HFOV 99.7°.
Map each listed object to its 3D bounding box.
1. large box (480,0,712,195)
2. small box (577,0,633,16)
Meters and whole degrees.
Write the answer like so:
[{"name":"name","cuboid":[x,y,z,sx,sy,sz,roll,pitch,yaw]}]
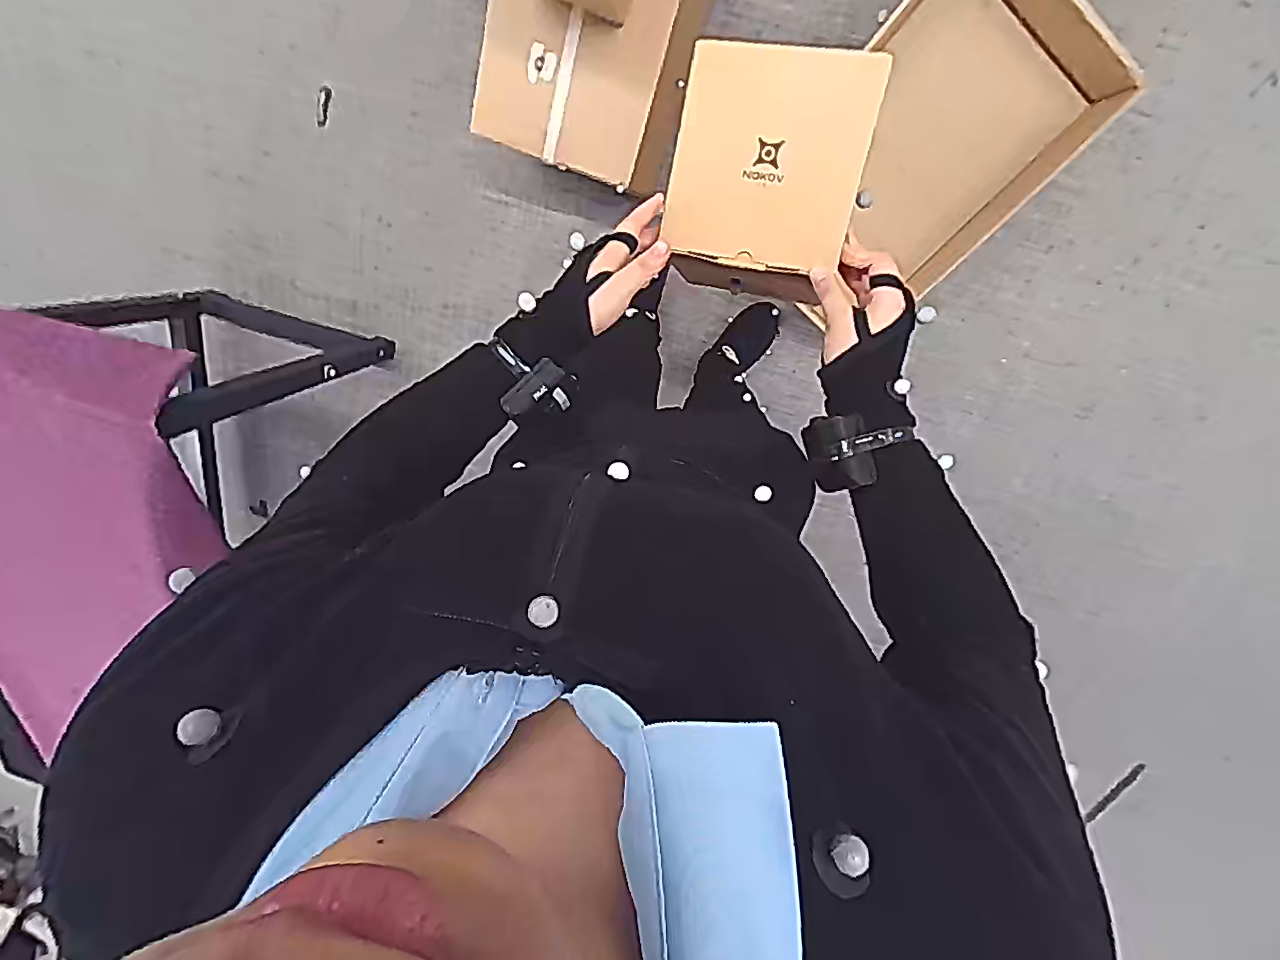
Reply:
[{"name":"large box","cuboid":[-0.070,-0.809,1.028,0.320,0.320,0.408,21,117,3]},{"name":"small box","cuboid":[-0.088,-0.800,0.760,0.179,0.176,0.168,23,118,0]}]
